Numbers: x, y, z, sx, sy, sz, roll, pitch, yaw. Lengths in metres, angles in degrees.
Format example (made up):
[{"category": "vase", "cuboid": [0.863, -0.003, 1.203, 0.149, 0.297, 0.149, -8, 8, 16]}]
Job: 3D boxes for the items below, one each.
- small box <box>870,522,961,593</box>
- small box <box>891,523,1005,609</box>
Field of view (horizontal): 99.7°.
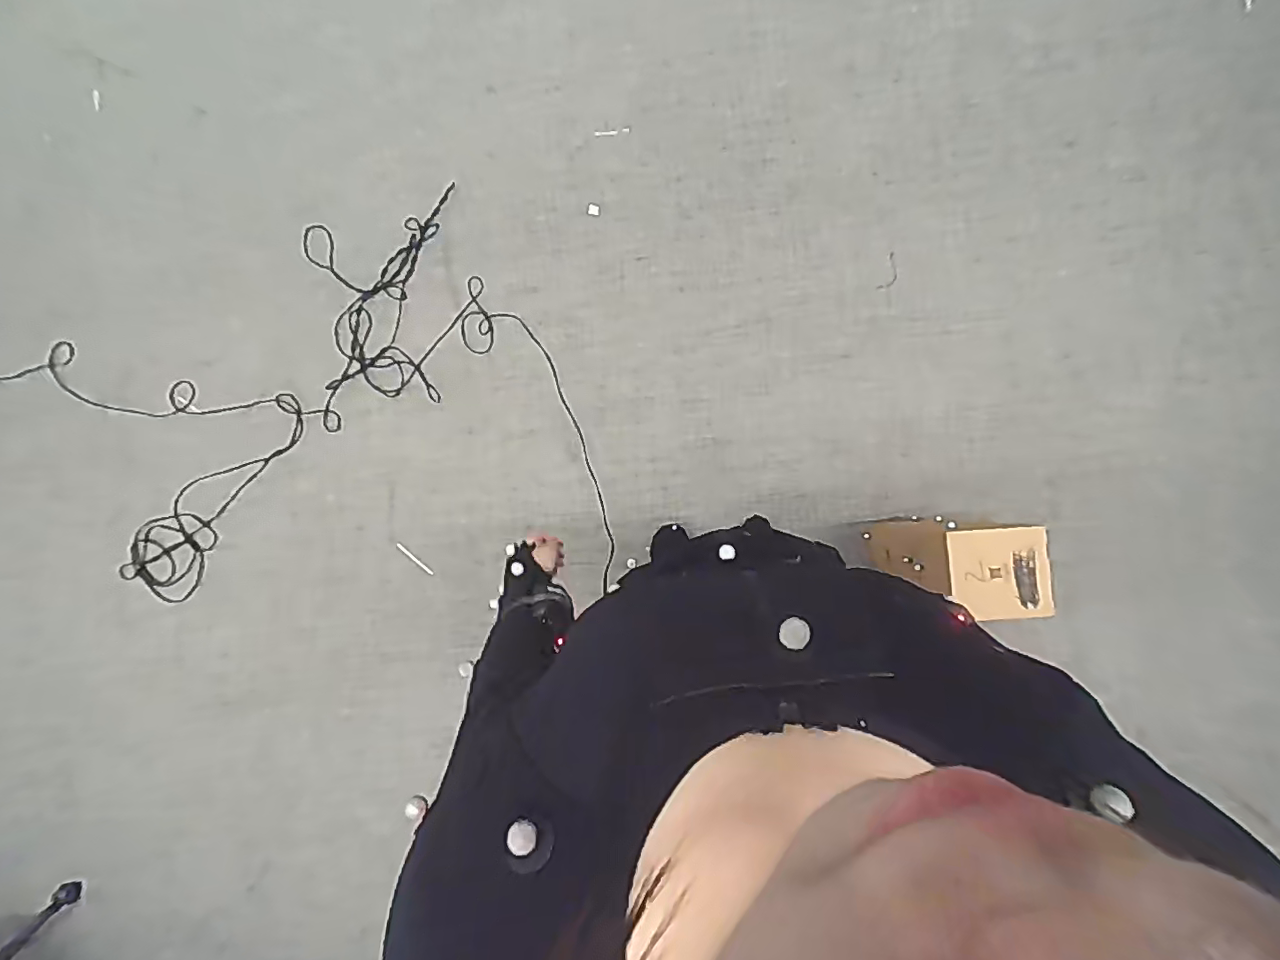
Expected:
[{"category": "small box", "cuboid": [0.703, 0.194, 1.381, 0.179, 0.176, 0.168, -5, 86, 4]}, {"category": "small box", "cuboid": [0.683, 0.187, 1.218, 0.168, 0.176, 0.179, -4, 87, 5]}]
